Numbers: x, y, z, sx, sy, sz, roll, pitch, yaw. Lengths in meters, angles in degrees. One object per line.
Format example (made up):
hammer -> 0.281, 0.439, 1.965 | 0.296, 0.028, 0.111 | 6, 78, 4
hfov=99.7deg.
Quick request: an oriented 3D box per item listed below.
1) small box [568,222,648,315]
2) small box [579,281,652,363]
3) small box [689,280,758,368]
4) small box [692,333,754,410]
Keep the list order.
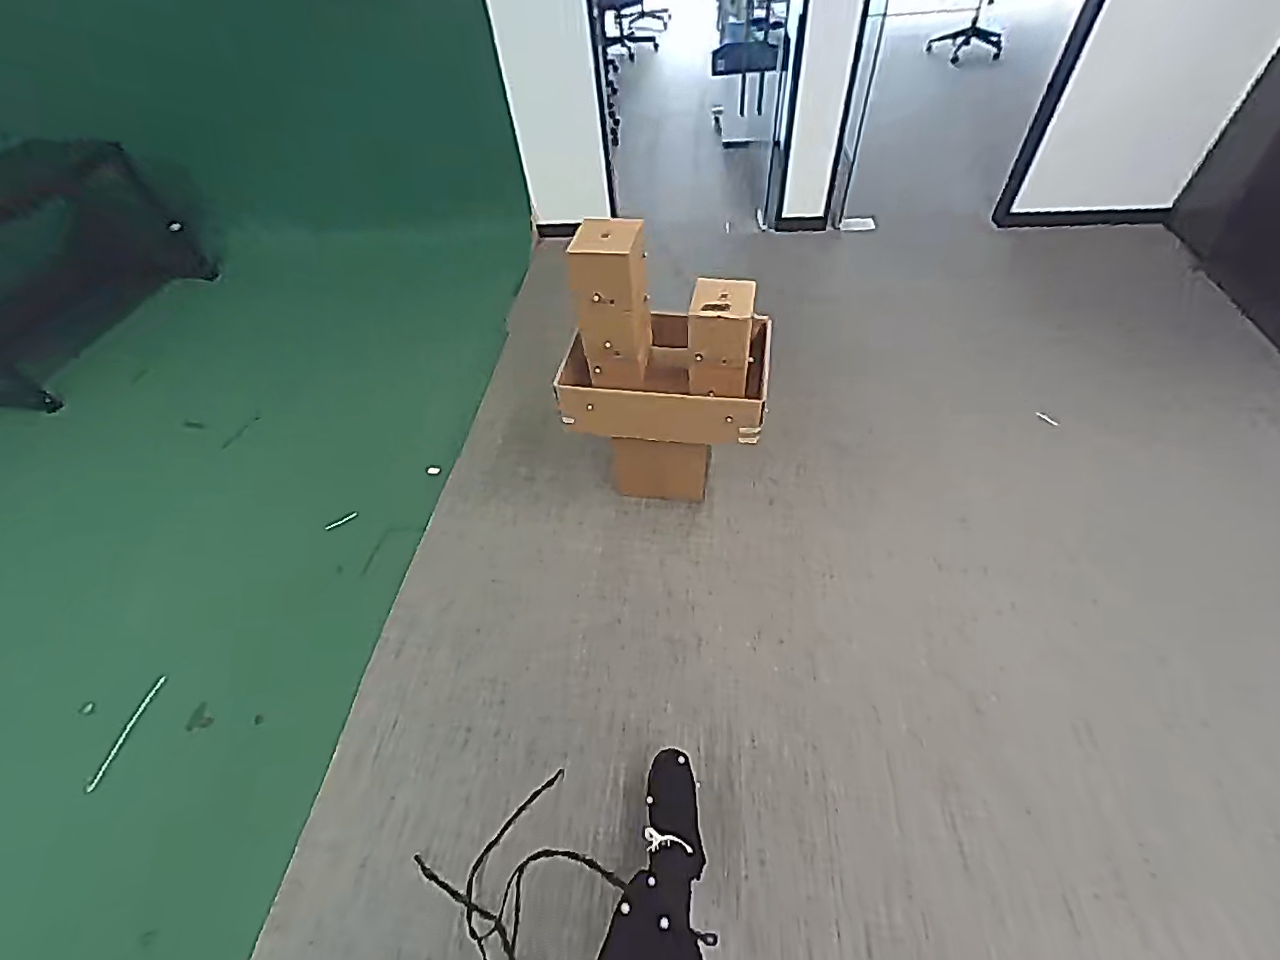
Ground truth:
small box -> -0.077, -0.567, 1.447 | 0.168, 0.176, 0.179 | 6, 53, 12
small box -> -0.064, -0.466, 1.574 | 0.168, 0.176, 0.179 | 7, 53, 12
small box -> 0.235, -0.435, 1.518 | 0.168, 0.176, 0.179 | 7, 53, 11
small box -> 0.252, -0.339, 1.651 | 0.168, 0.176, 0.179 | 6, 54, 10
